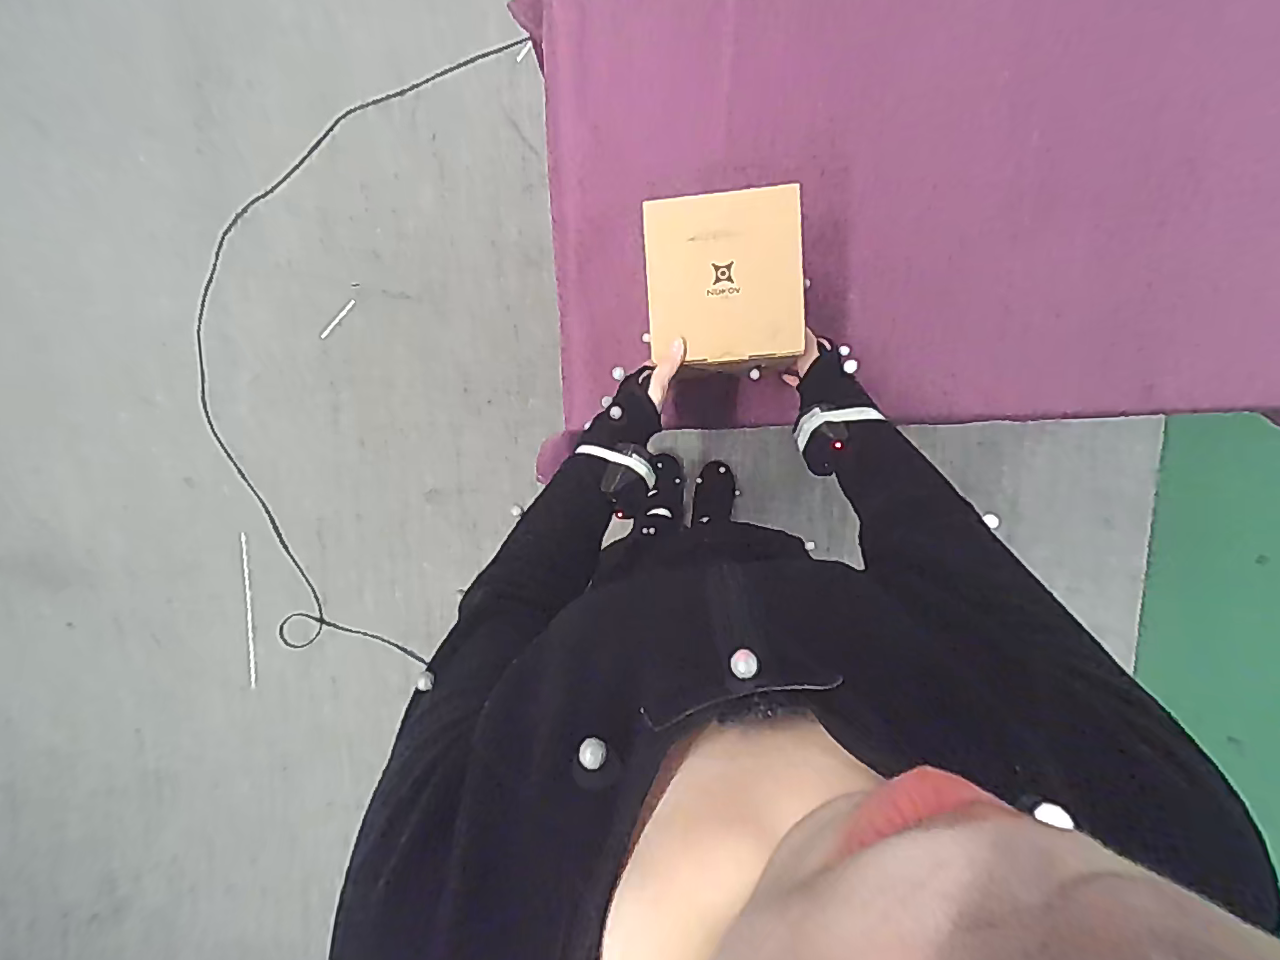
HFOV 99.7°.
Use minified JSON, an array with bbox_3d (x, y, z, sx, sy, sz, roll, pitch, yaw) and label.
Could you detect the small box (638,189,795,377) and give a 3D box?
[{"bbox_3d":[0.091,-0.220,0.655,0.168,0.176,0.179,-2,94,7],"label":"small box"}]
